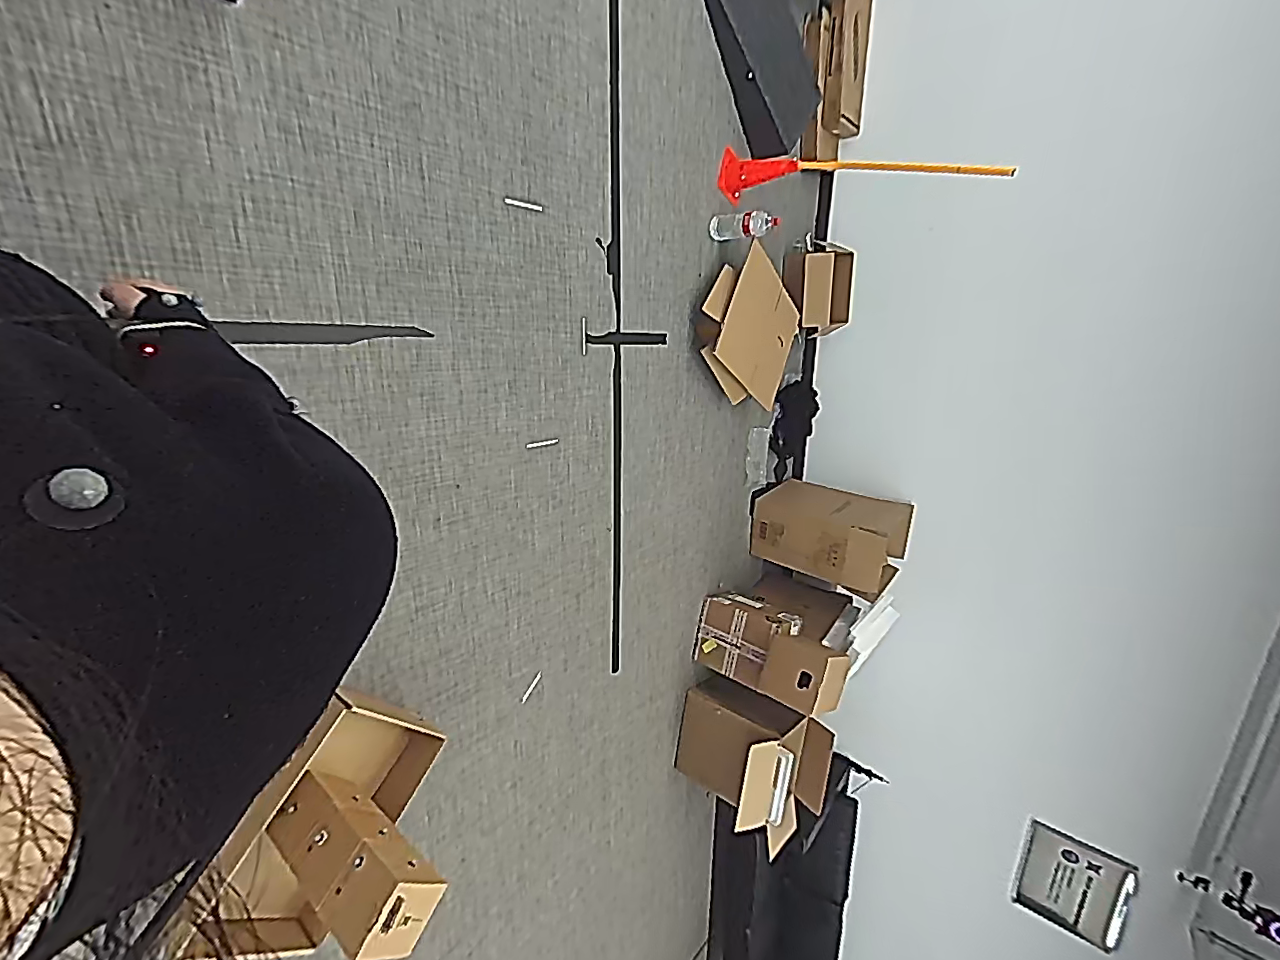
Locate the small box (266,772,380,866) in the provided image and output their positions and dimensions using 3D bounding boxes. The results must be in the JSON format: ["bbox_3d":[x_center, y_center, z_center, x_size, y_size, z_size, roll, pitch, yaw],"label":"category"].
[{"bbox_3d":[-0.872,0.936,1.489,0.168,0.176,0.179,-58,140,-23],"label":"small box"}]

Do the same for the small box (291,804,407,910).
[{"bbox_3d":[-0.745,0.969,1.393,0.168,0.176,0.179,-60,140,-22],"label":"small box"}]

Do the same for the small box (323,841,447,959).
[{"bbox_3d":[-0.614,1.001,1.300,0.168,0.176,0.179,-60,142,-21],"label":"small box"}]
